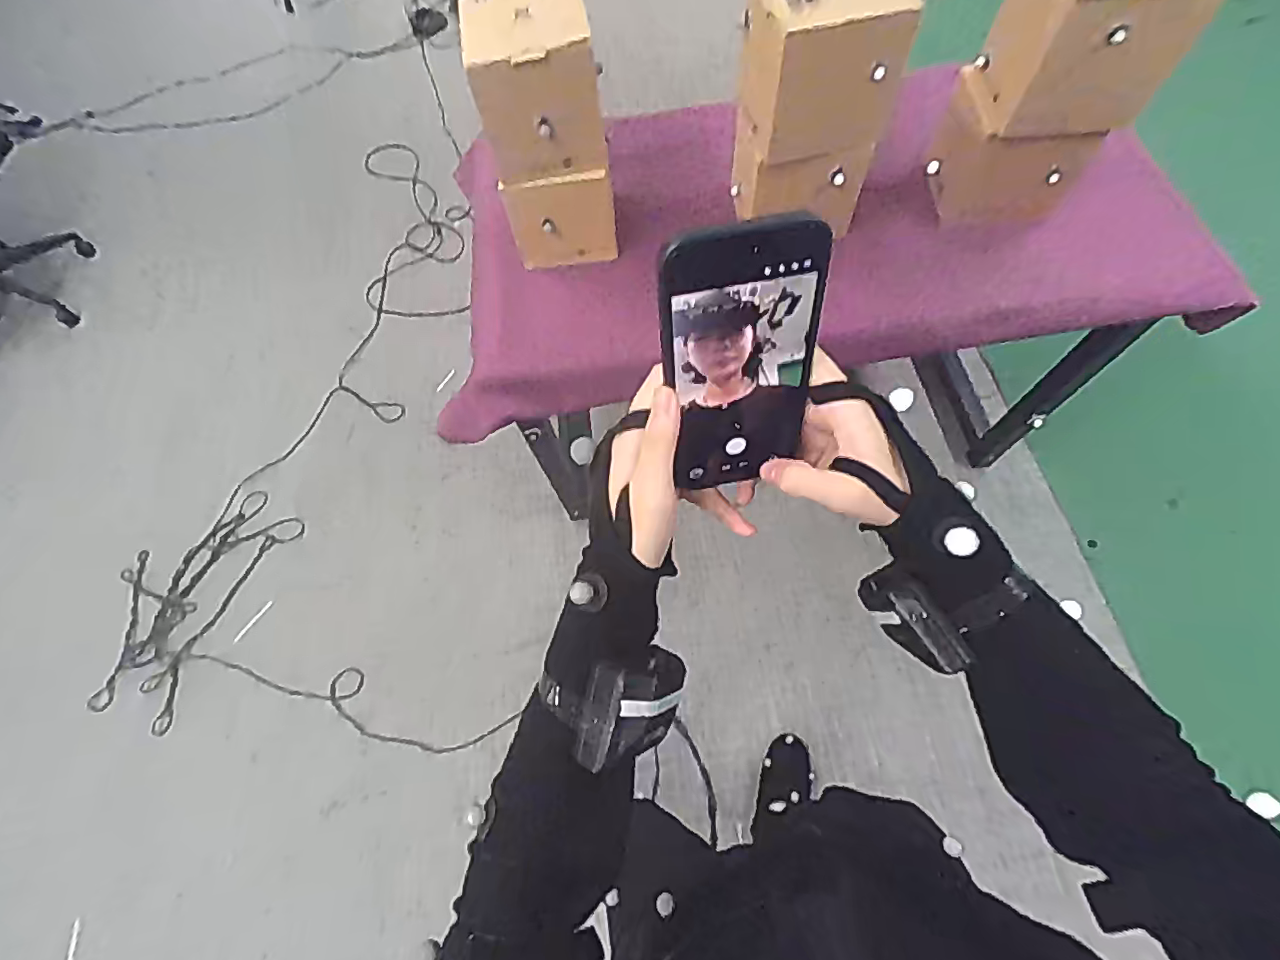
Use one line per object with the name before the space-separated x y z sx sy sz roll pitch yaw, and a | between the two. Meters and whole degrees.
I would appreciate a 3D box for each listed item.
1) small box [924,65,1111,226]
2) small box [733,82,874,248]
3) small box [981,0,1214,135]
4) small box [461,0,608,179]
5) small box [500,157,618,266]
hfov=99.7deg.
small box | 0.597 -0.542 0.883 0.179 0.176 0.168 -1 65 5
small box | 0.258 -0.516 0.901 0.179 0.176 0.168 -7 65 2
small box | 0.594 -0.596 0.728 0.179 0.176 0.168 -1 65 4
small box | -0.145 -0.564 0.780 0.168 0.176 0.179 -11 66 0
small box | -0.131 -0.489 0.926 0.168 0.176 0.179 -6 65 3
